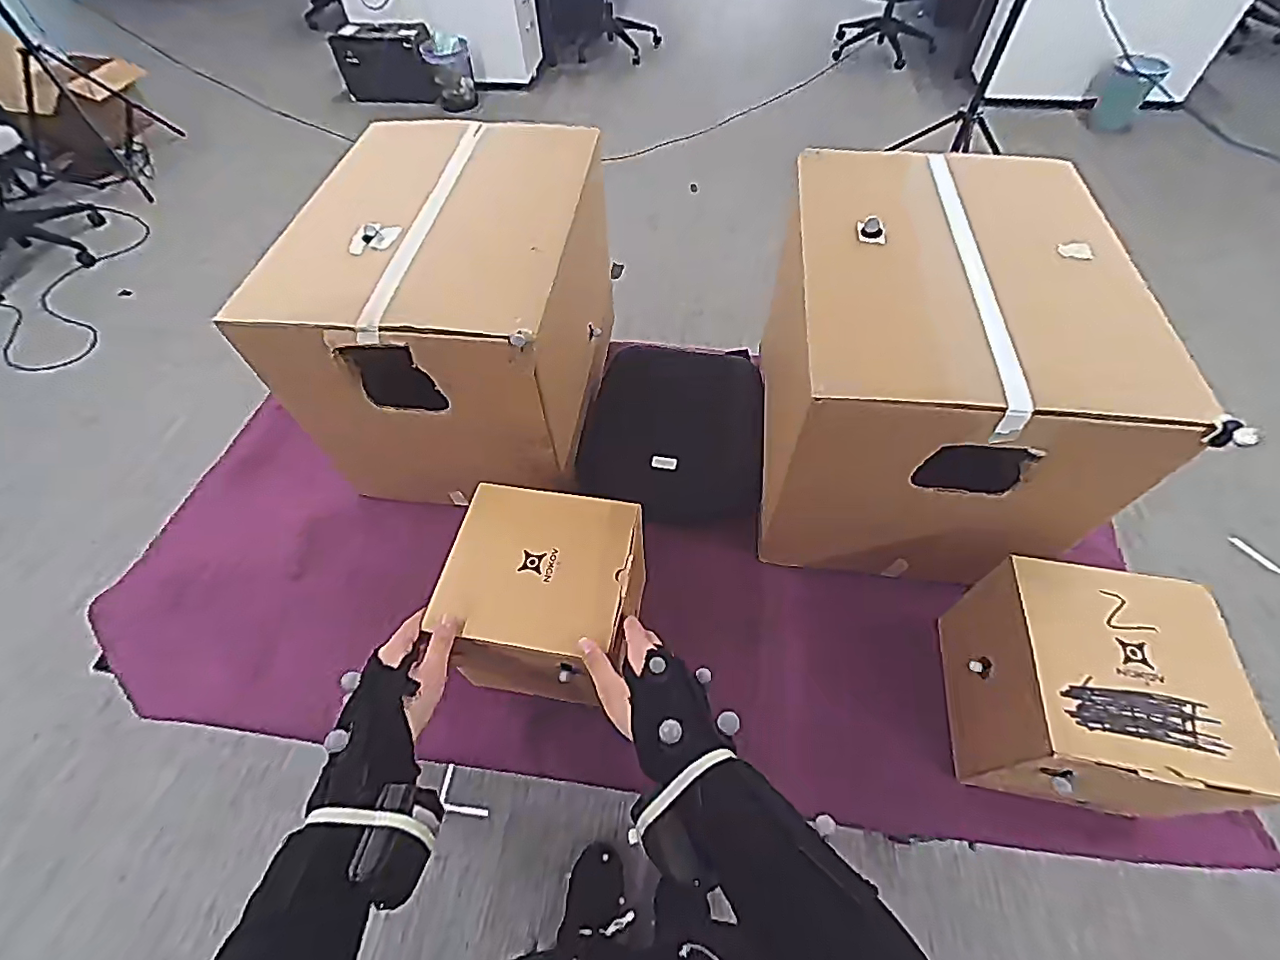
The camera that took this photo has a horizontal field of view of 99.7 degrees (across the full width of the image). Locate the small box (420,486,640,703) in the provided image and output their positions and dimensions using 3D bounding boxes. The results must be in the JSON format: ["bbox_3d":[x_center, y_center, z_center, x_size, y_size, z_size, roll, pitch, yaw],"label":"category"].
[{"bbox_3d":[-0.099,0.128,0.584,0.179,0.176,0.168,7,54,6],"label":"small box"}]

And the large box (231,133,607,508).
[{"bbox_3d":[-0.224,-0.207,0.737,0.320,0.320,0.408,4,57,5],"label":"large box"}]
